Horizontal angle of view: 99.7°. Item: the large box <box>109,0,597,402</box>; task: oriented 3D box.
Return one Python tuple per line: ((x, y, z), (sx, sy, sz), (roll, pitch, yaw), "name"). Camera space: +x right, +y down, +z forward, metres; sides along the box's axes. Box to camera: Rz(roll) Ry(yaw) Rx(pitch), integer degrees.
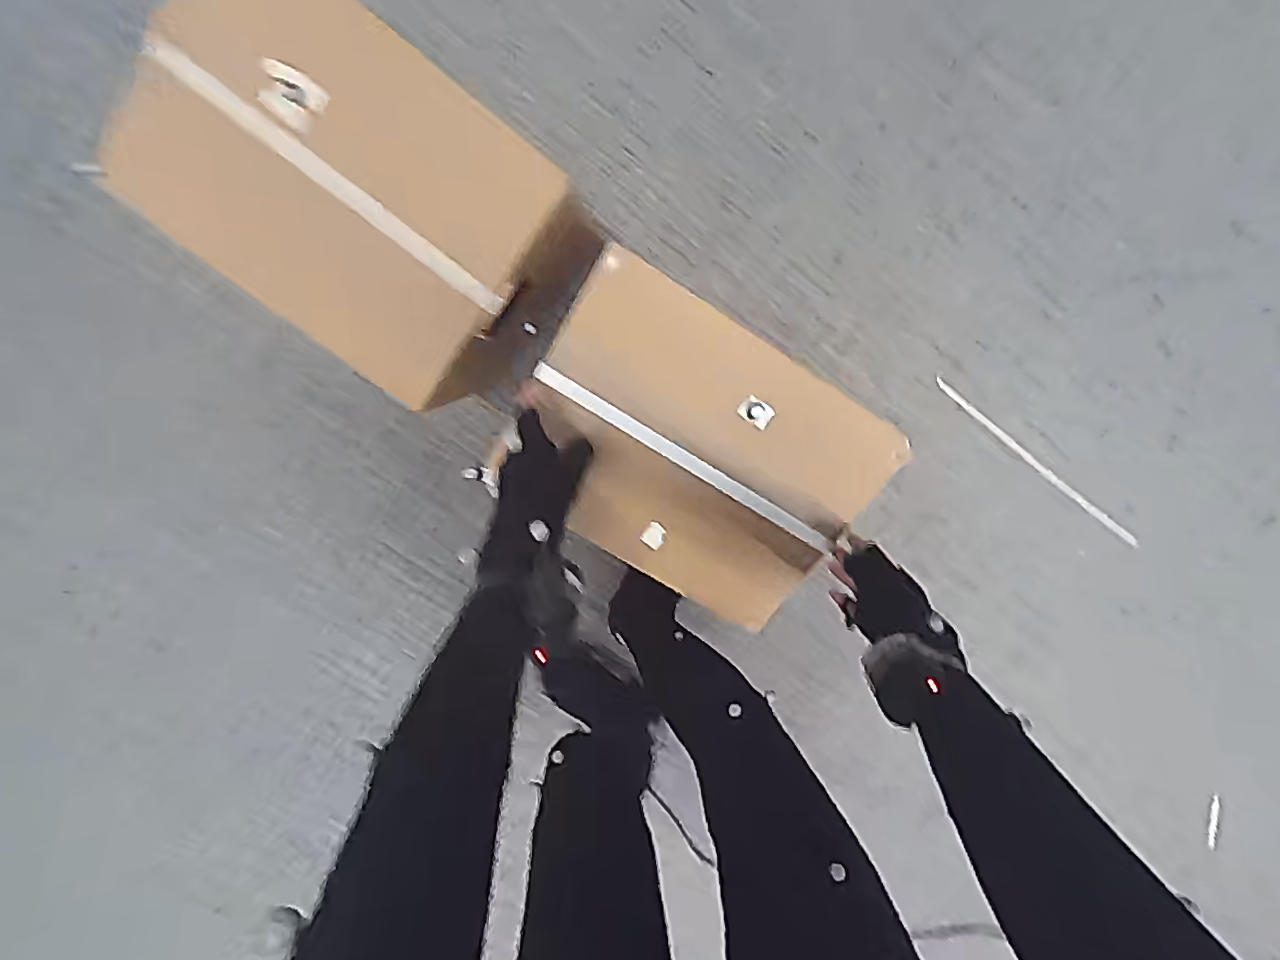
((-0.317, -0.355, 0.714), (0.408, 0.320, 0.320), (37, 102, -7), "large box")
